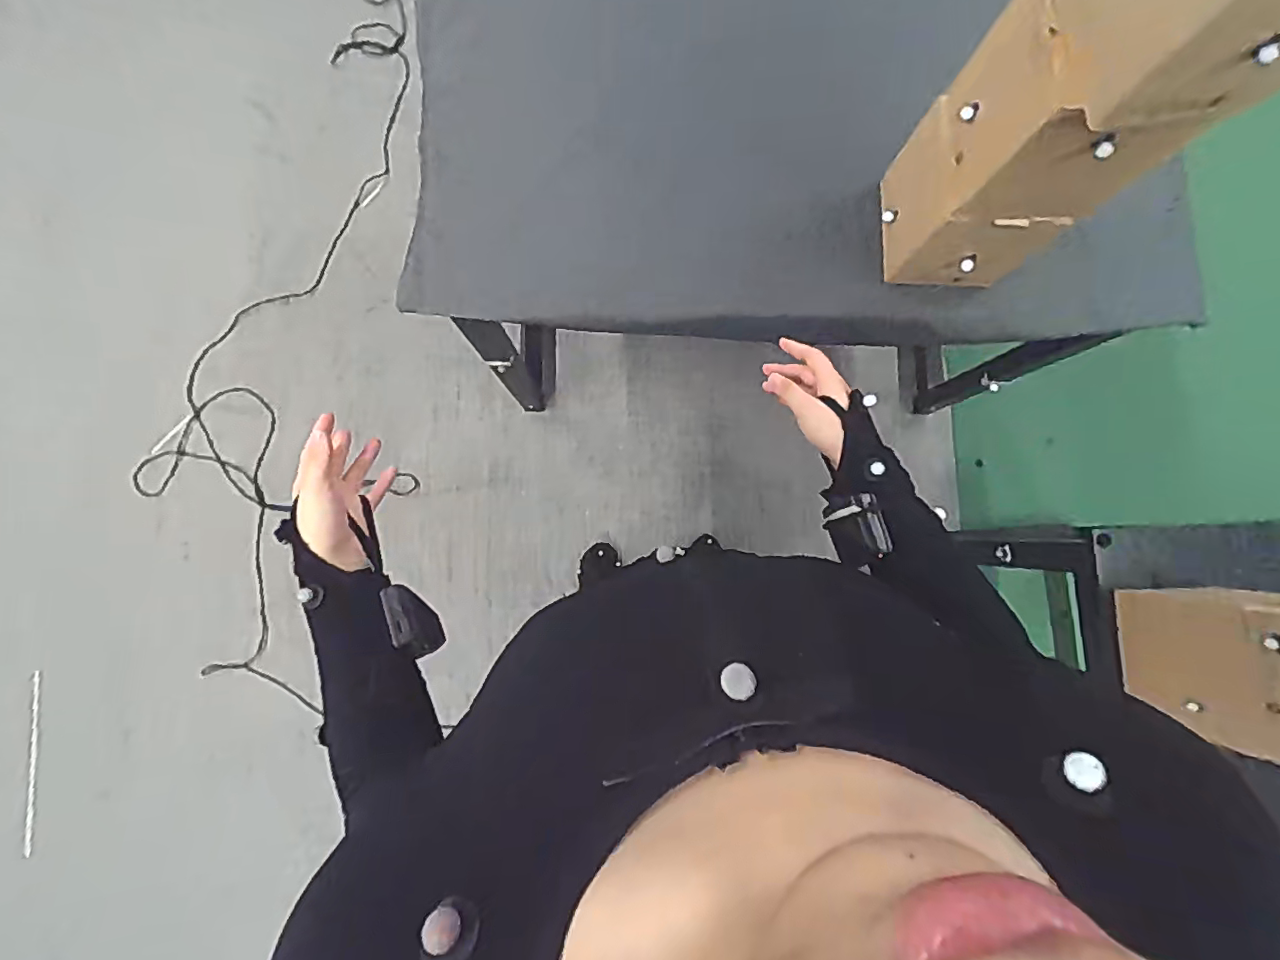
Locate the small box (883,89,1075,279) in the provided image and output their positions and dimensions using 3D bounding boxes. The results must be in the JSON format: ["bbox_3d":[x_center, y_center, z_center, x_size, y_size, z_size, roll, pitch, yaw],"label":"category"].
[{"bbox_3d":[0.457,-0.399,0.755,0.168,0.176,0.179,1,83,0],"label":"small box"}]

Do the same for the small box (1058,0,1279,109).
[{"bbox_3d":[0.480,-0.431,0.428,0.168,0.176,0.179,-9,83,-2],"label":"small box"}]

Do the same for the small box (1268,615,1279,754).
[{"bbox_3d":[0.790,0.223,0.533,0.179,0.176,0.168,1,85,-2],"label":"small box"}]

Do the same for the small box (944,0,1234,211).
[{"bbox_3d":[0.469,-0.419,0.593,0.179,0.176,0.168,-1,83,0],"label":"small box"}]
